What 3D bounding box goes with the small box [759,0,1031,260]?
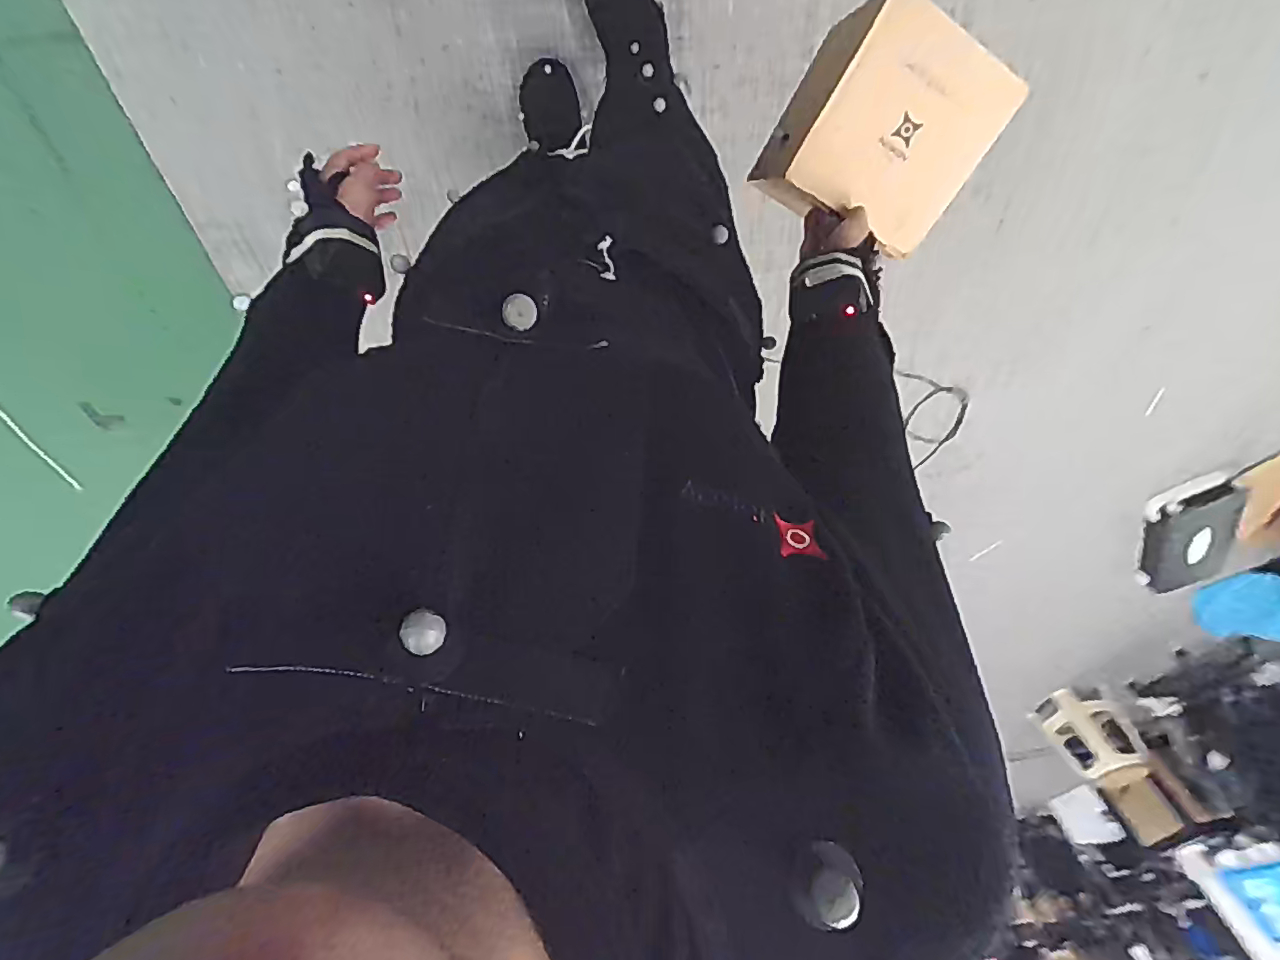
[{"bbox_3d":[0.247,-0.365,0.580,0.168,0.176,0.179,24,113,-16],"label":"small box"}]
